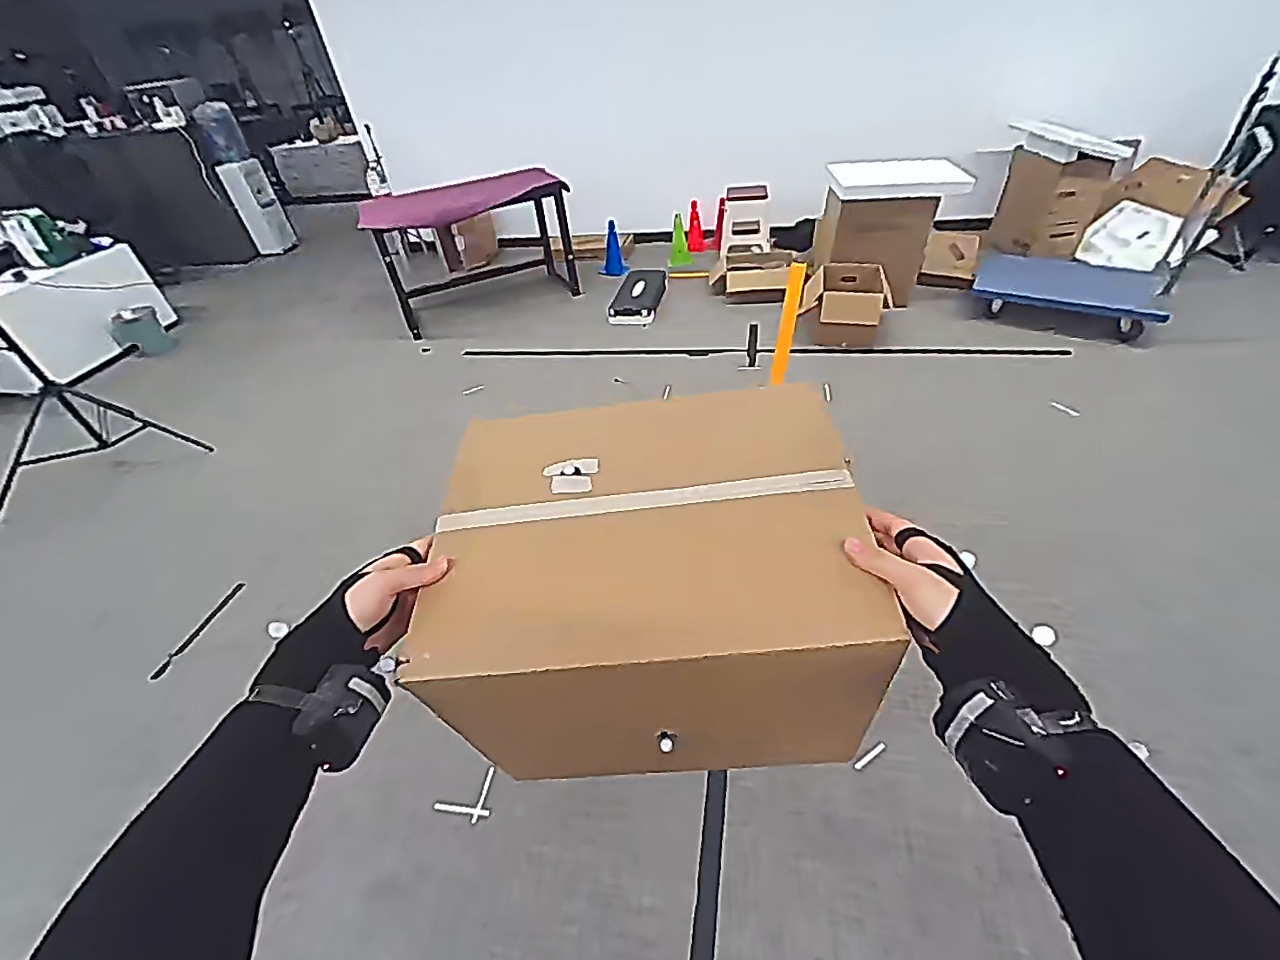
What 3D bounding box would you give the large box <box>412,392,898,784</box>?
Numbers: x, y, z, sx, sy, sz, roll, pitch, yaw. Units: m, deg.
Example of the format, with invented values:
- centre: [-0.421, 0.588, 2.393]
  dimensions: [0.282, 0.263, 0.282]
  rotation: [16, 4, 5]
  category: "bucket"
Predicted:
- centre: [0.024, 0.138, 0.639]
  dimensions: [0.408, 0.320, 0.320]
  rotation: [-8, 45, 6]
  category: "large box"
